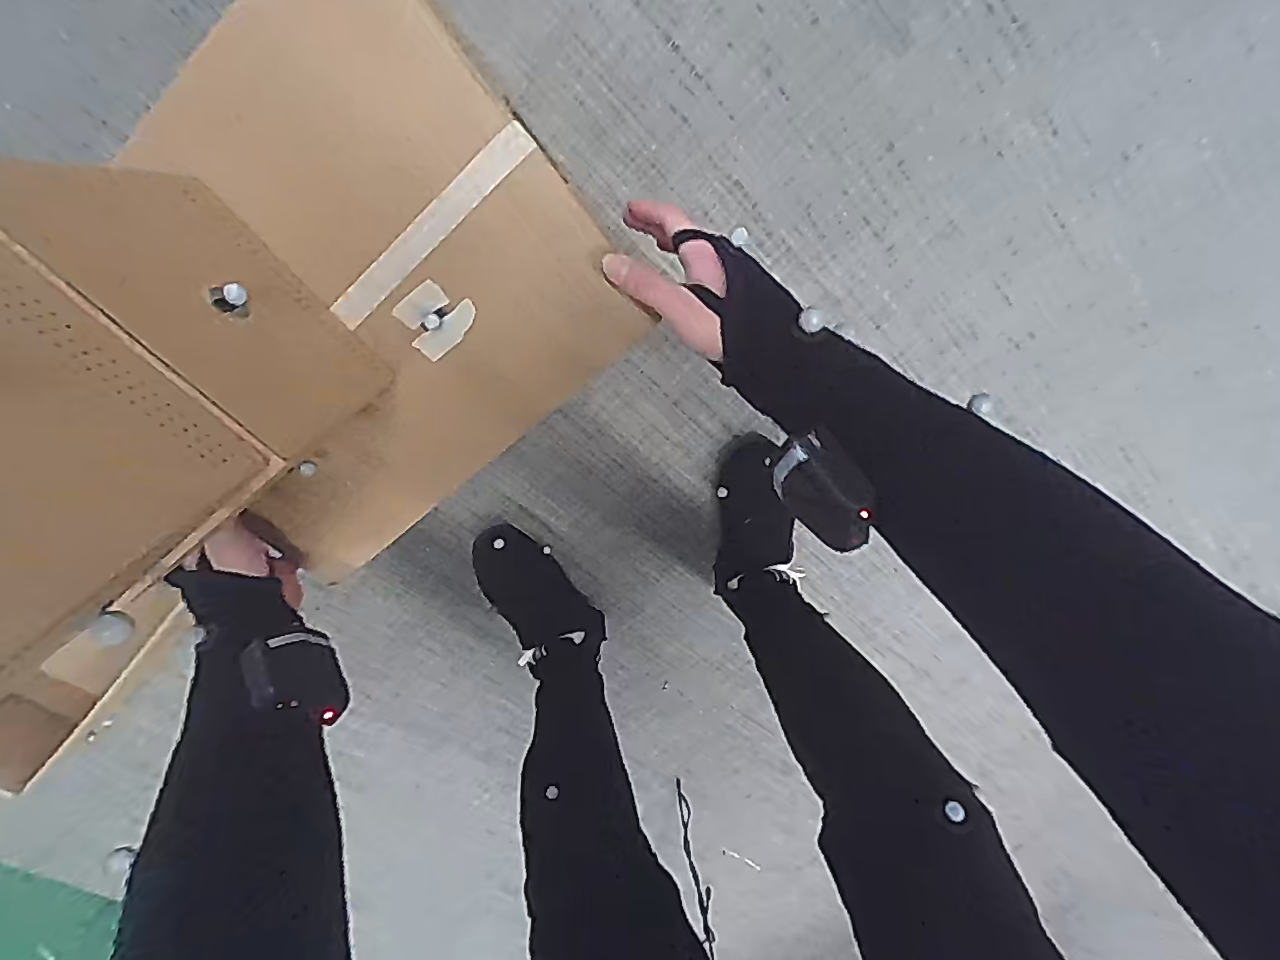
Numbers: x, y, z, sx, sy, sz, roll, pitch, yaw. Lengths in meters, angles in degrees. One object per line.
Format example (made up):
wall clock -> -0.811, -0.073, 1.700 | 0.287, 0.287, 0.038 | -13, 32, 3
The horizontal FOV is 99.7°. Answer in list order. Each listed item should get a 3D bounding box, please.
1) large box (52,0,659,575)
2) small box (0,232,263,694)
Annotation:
large box -> -0.240, -0.190, 0.552 | 0.408, 0.320, 0.320 | -37, 114, 13
small box -> -0.295, 0.008, 0.189 | 0.168, 0.176, 0.179 | -35, 114, 13
